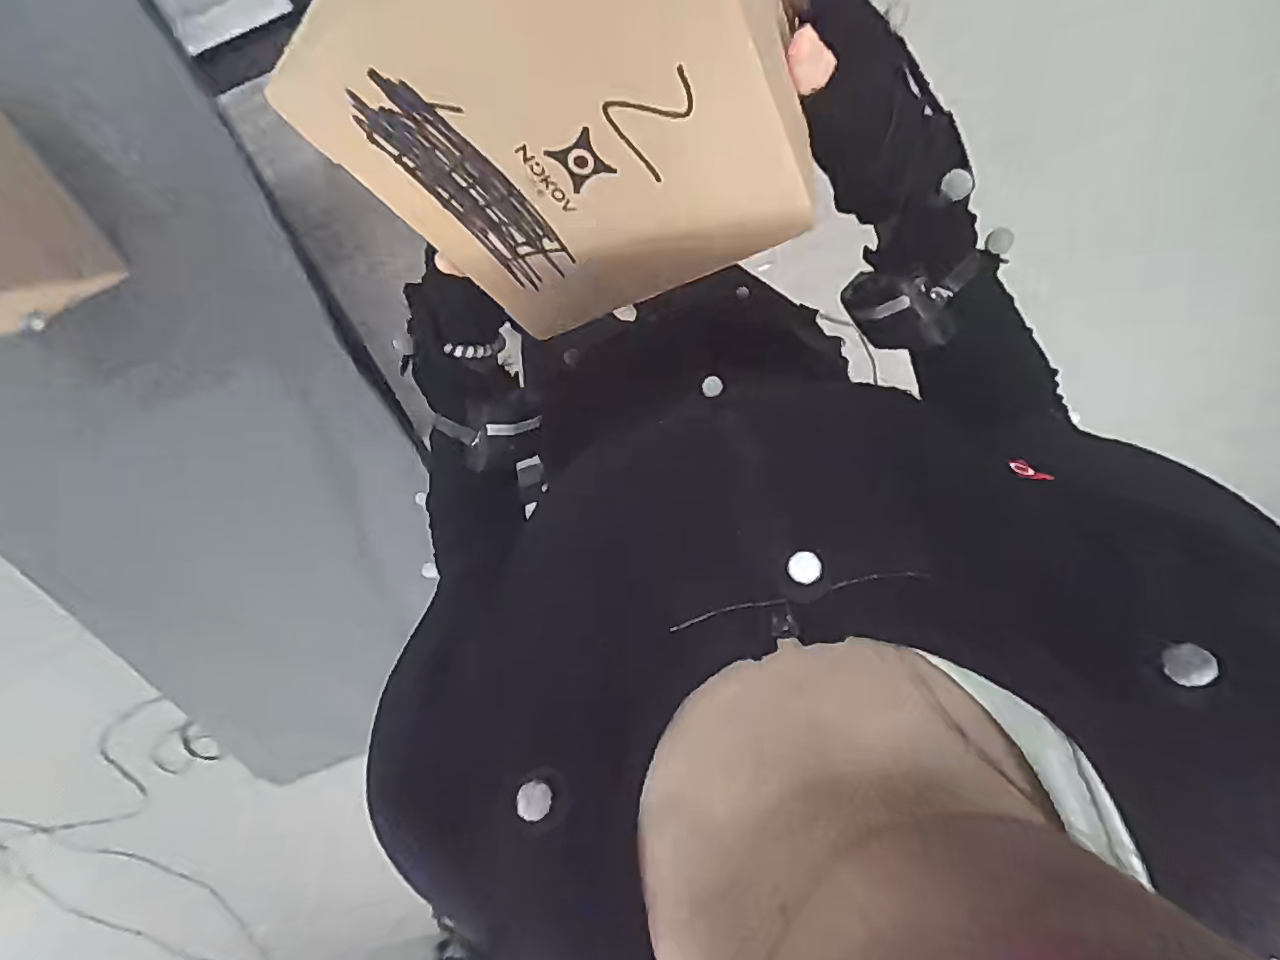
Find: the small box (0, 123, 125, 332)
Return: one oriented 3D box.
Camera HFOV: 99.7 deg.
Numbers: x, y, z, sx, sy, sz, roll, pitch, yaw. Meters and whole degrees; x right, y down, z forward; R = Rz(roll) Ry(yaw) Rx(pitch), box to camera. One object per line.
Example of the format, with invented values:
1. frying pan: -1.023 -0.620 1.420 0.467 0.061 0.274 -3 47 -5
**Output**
1. small box: -0.655 -0.228 0.490 0.168 0.176 0.179 -22 118 6
